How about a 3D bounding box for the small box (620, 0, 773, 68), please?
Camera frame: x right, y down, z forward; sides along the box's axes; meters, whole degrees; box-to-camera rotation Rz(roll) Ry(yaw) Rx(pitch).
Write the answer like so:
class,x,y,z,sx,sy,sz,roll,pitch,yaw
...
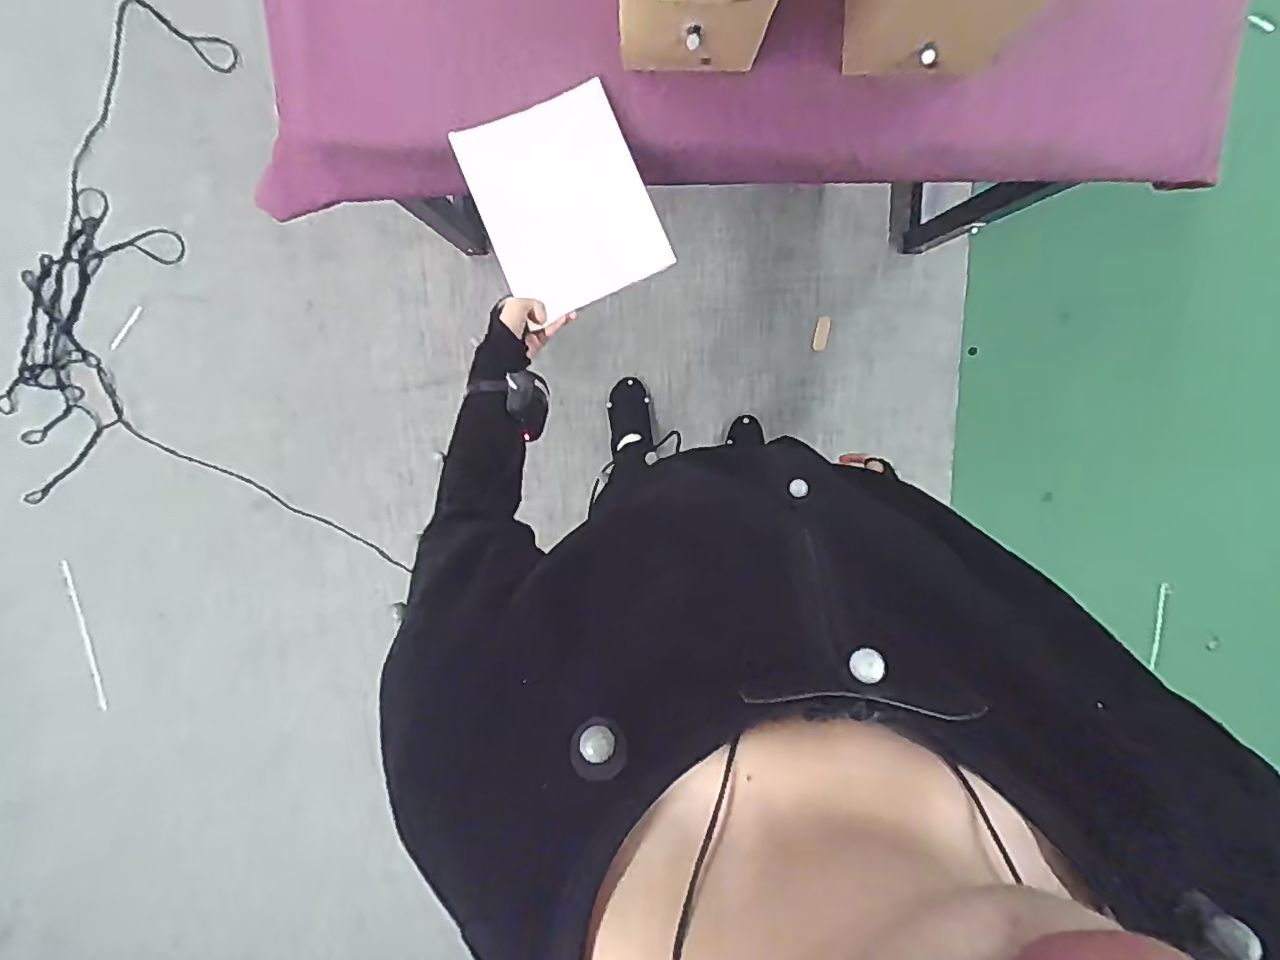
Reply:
class,x,y,z,sx,sy,sz,roll,pitch,yaw
small box,0.061,-0.585,0.586,0.168,0.176,0.179,0,101,-1
